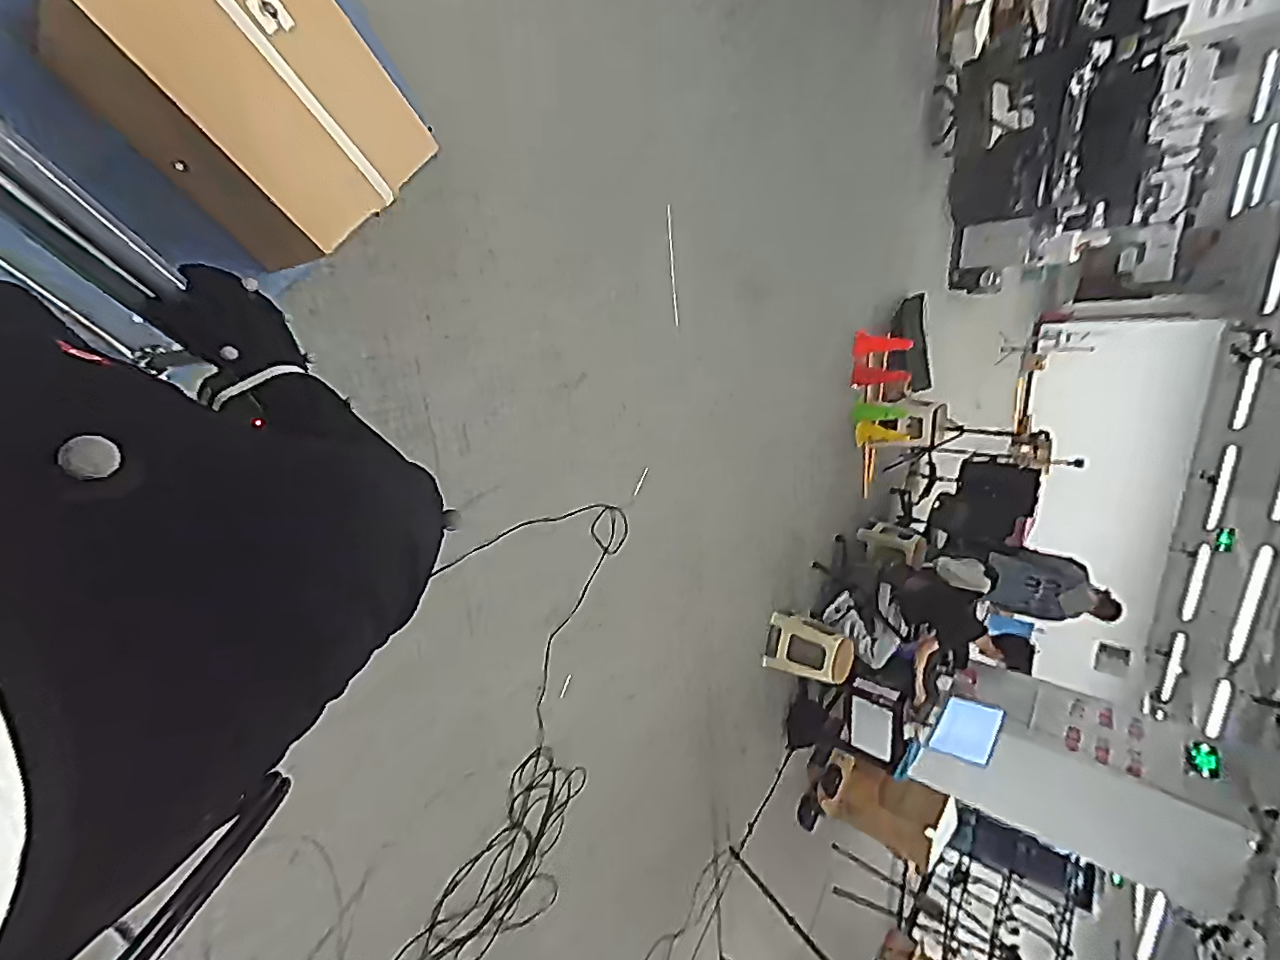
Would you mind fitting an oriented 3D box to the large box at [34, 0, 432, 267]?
[{"bbox_3d":[-0.660,-0.639,0.921,0.320,0.320,0.408,-59,134,-21],"label":"large box"}]
